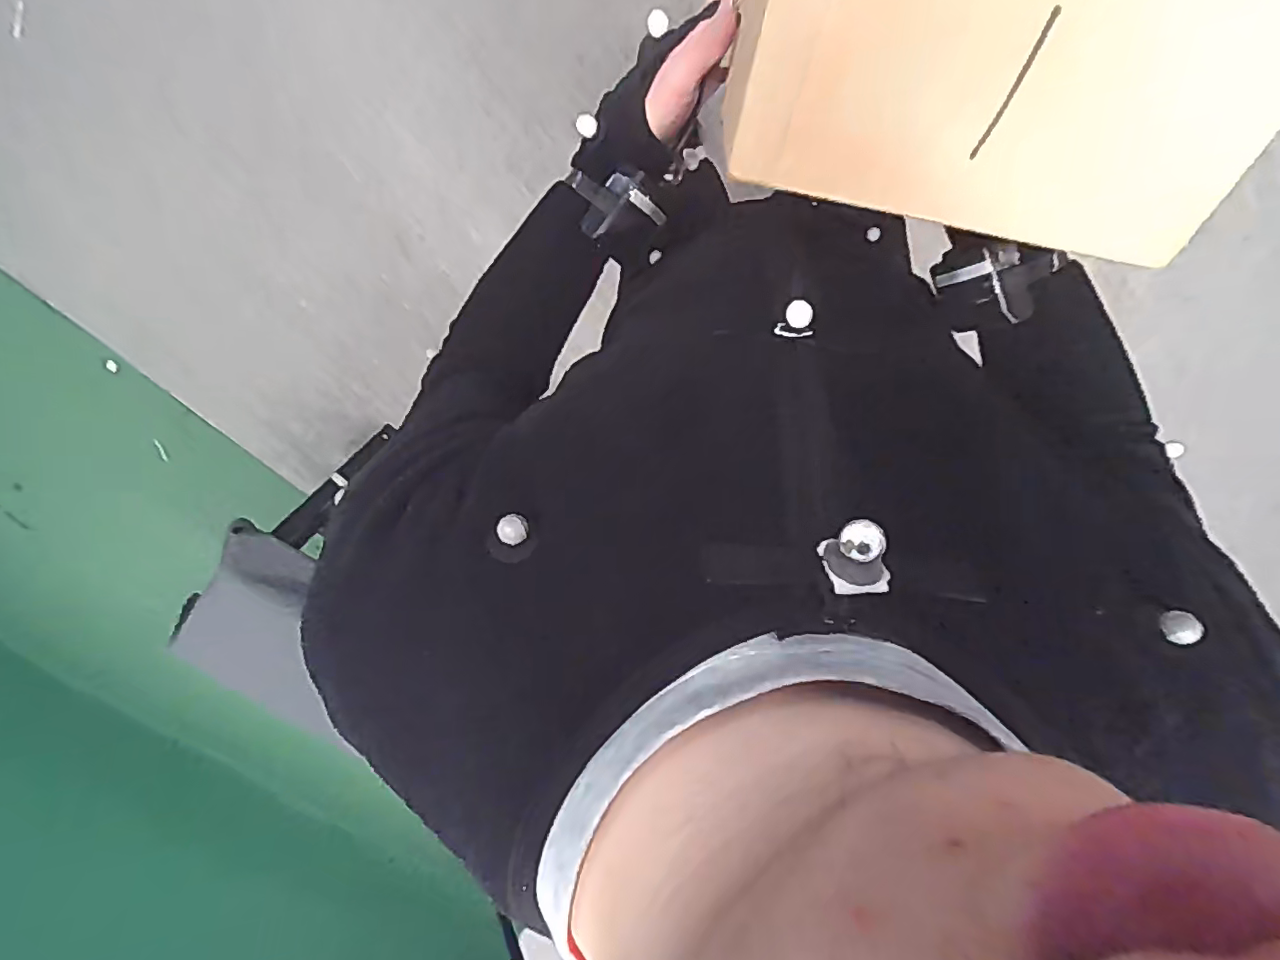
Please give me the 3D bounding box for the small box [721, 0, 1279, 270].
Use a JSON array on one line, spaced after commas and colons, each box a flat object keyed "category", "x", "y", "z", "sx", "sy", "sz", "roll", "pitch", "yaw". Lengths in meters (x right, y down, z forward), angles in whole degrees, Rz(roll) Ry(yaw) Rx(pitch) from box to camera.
[{"category": "small box", "x": 0.130, "y": -0.208, "z": 0.196, "sx": 0.168, "sy": 0.176, "sz": 0.179, "roll": 13, "pitch": 132, "yaw": -1}]
